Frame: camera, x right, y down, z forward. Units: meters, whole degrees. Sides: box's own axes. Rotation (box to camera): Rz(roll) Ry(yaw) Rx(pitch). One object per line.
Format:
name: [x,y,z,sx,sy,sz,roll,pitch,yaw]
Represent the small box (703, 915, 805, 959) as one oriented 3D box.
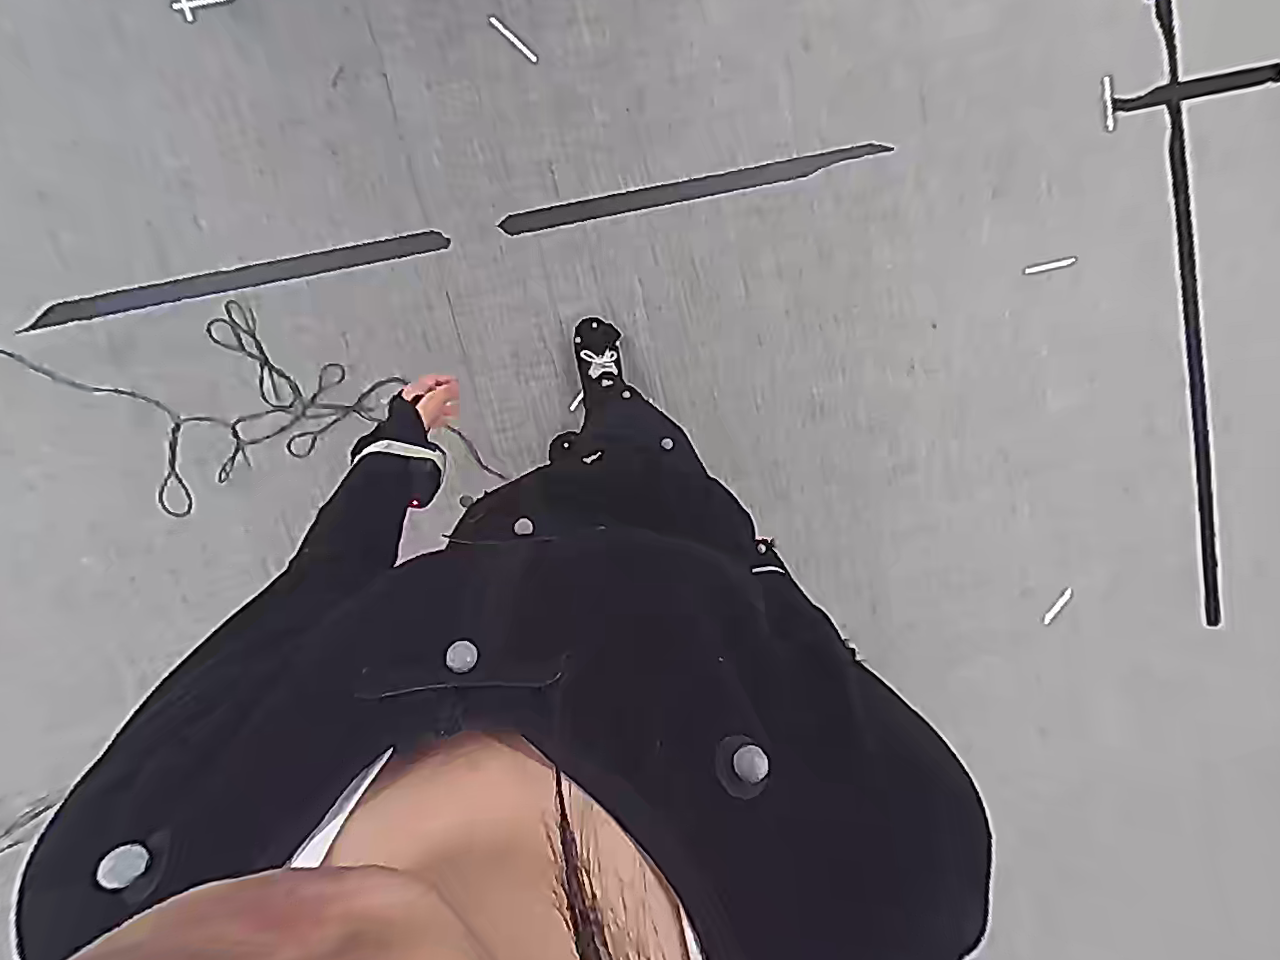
small box: [0.215,0.916,0.954,0.168,0.176,0.179,-9,98,-4]
